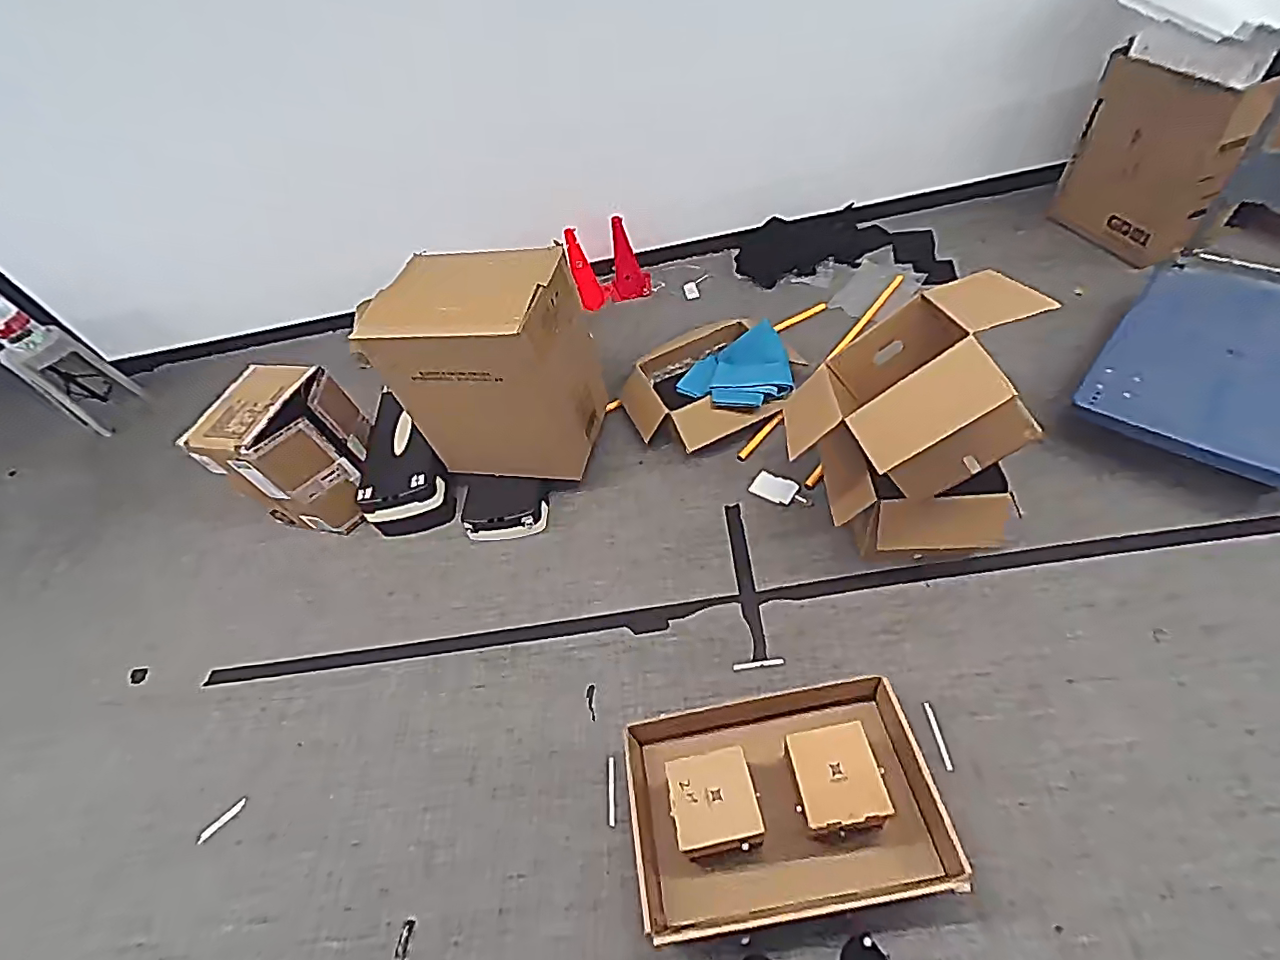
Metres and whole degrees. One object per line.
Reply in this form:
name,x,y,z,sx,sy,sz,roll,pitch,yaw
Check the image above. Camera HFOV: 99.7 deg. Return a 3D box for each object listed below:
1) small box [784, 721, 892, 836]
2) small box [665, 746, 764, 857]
small box,0.414,0.645,1.164,0.168,0.176,0.179,-13,51,4
small box,0.160,0.701,1.176,0.179,0.176,0.168,-13,50,1
